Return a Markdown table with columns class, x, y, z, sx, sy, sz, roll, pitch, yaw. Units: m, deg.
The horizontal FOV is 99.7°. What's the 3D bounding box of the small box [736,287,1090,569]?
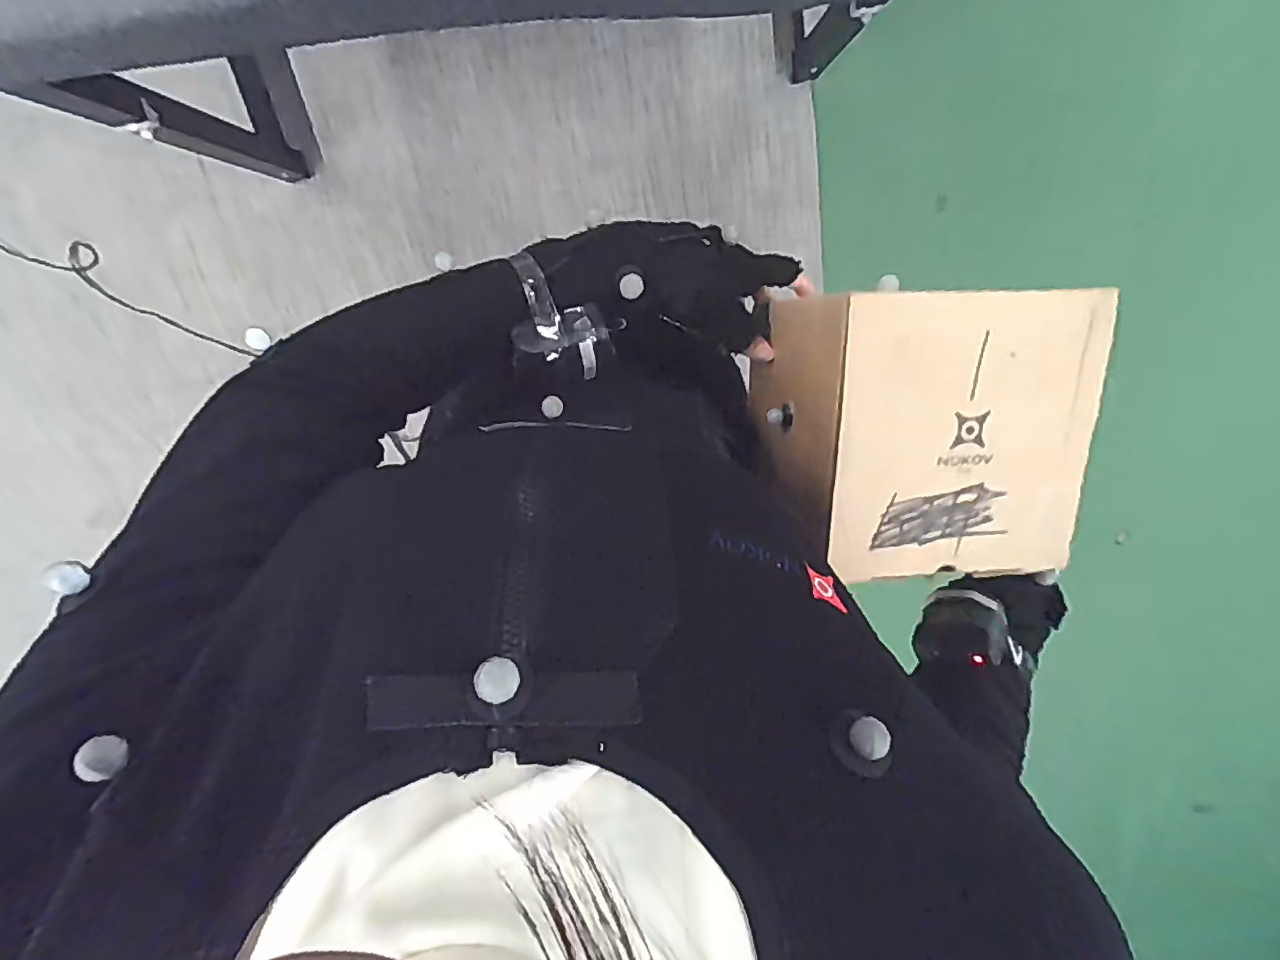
| class | x | y | z | sx | sy | sz | roll | pitch | yaw |
| --- | --- | --- | --- | --- | --- | --- | --- | --- | --- |
| small box | 0.177 | -0.048 | 0.412 | 0.168 | 0.176 | 0.179 | -1 | 105 | -7 |
